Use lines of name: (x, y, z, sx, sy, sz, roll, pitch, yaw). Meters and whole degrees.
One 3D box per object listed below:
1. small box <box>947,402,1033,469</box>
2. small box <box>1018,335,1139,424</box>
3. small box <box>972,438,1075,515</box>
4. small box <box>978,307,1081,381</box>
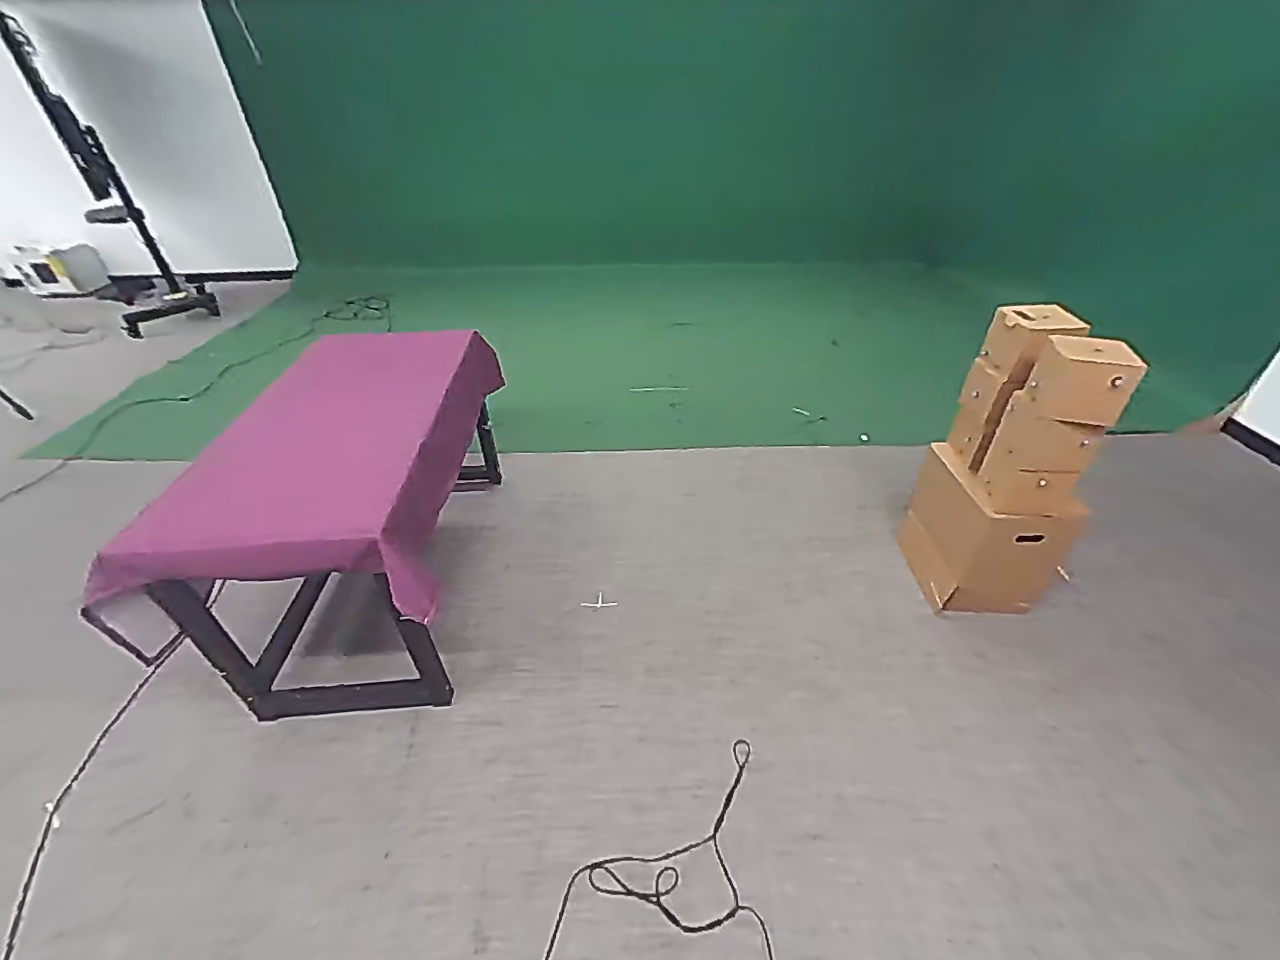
small box: (1.165, -0.149, 1.824, 0.179, 0.176, 0.168, -1, 39, 2)
small box: (1.143, -0.263, 1.425, 0.179, 0.176, 0.168, 10, 38, 15)
small box: (1.150, -0.009, 1.636, 0.179, 0.176, 0.168, 2, 36, 6)
small box: (1.150, -0.406, 1.620, 0.179, 0.176, 0.168, -2, 39, 0)
